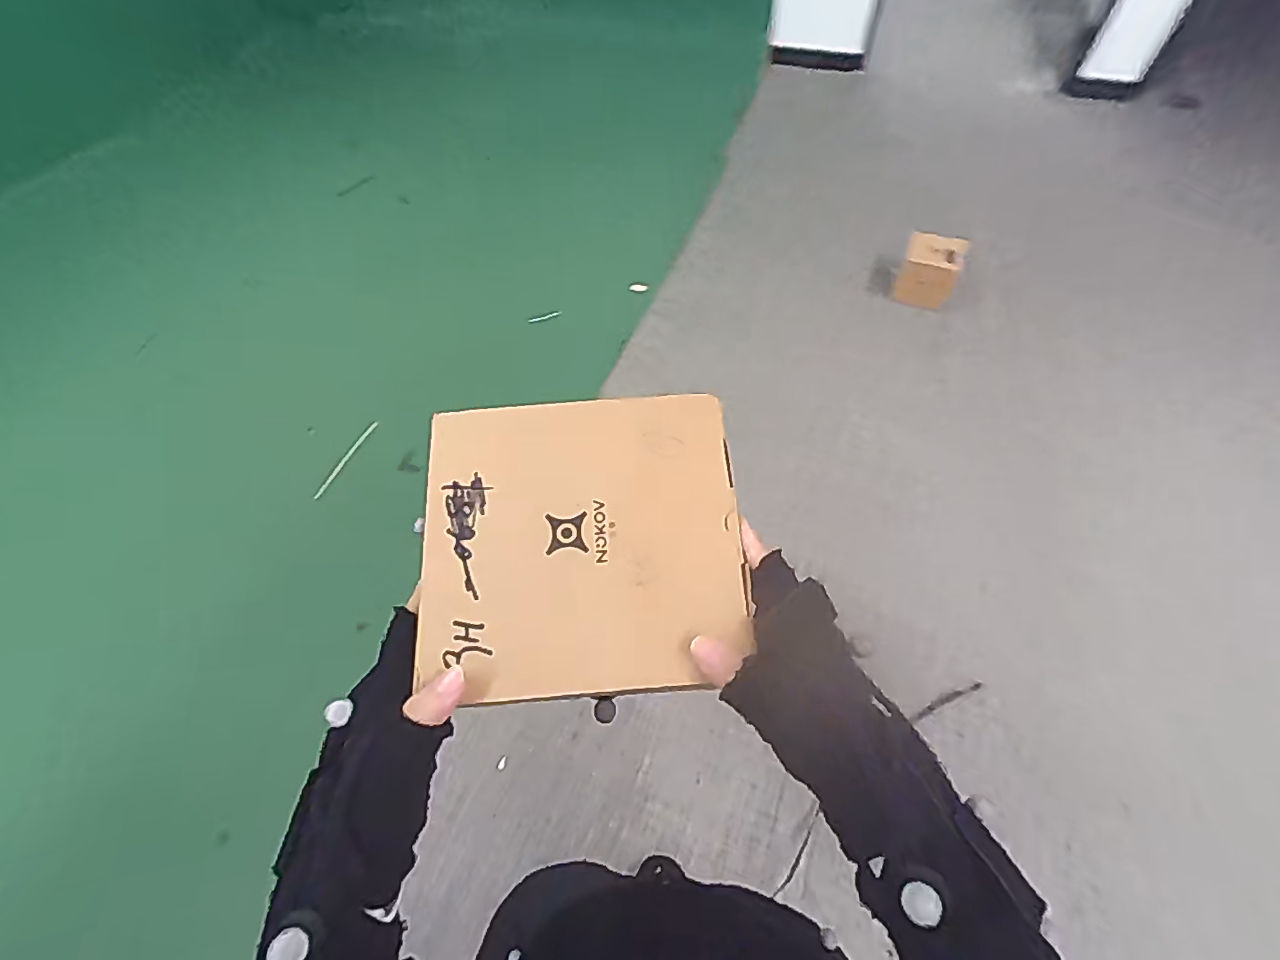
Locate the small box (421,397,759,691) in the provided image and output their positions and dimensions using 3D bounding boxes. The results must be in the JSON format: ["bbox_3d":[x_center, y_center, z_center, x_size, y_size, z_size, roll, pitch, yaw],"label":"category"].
[{"bbox_3d":[-0.029,0.056,0.378,0.179,0.176,0.168,-2,68,-2],"label":"small box"}]

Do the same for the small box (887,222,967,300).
[{"bbox_3d":[0.989,-0.753,1.870,0.179,0.176,0.168,22,62,16],"label":"small box"}]
